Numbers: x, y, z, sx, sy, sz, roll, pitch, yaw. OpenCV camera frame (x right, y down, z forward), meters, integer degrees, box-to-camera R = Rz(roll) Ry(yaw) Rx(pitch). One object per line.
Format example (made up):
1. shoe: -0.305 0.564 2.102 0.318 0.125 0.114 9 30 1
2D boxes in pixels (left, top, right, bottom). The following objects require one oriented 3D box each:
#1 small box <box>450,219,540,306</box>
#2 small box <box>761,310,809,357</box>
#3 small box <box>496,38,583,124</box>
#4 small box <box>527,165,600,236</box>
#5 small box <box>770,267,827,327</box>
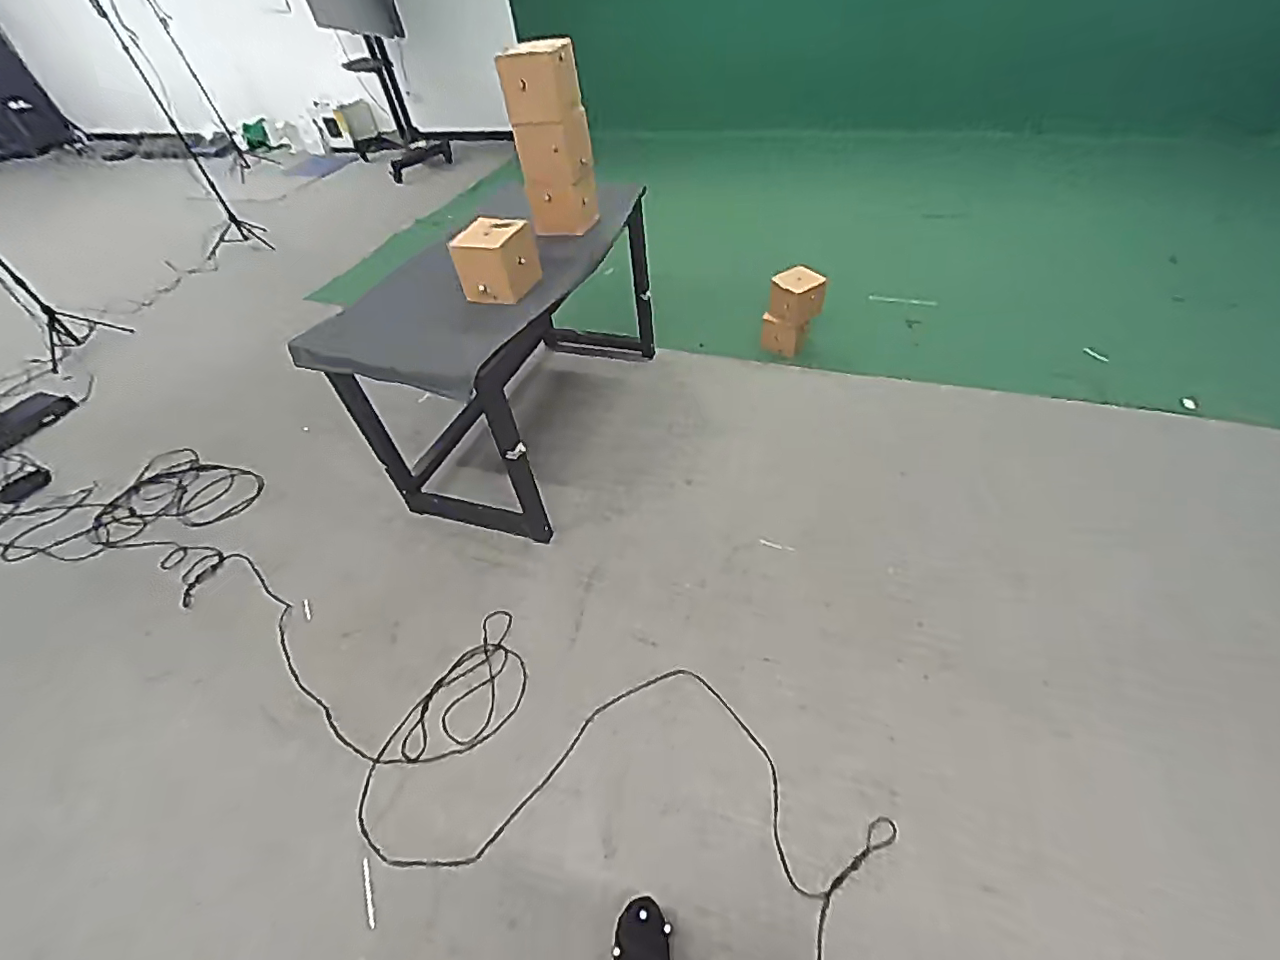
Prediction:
1. small box: -0.401 -0.621 1.539 0.168 0.176 0.179 11 50 18
2. small box: 0.665 -0.689 2.469 0.168 0.176 0.179 26 55 27
3. small box: -0.285 -1.159 1.575 0.179 0.176 0.168 8 49 16
4. small box: -0.249 -0.937 1.815 0.179 0.176 0.168 11 50 18
5. small box: 0.678 -0.788 2.337 0.179 0.176 0.168 -28 51 -19
